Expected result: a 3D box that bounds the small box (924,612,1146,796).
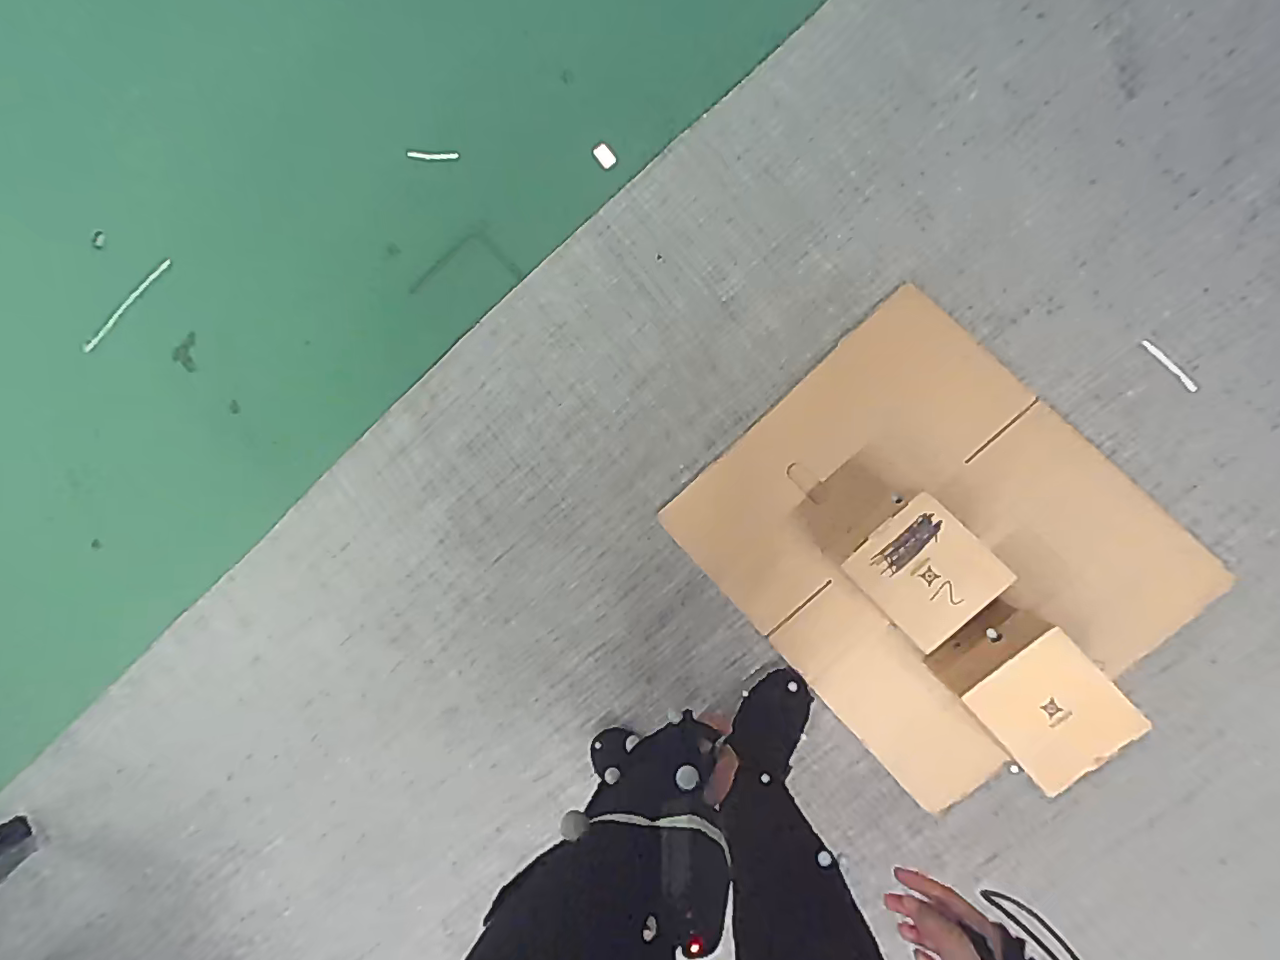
[{"bbox_3d":[0.572,0.318,0.816,0.168,0.176,0.179,-42,82,7],"label":"small box"}]
